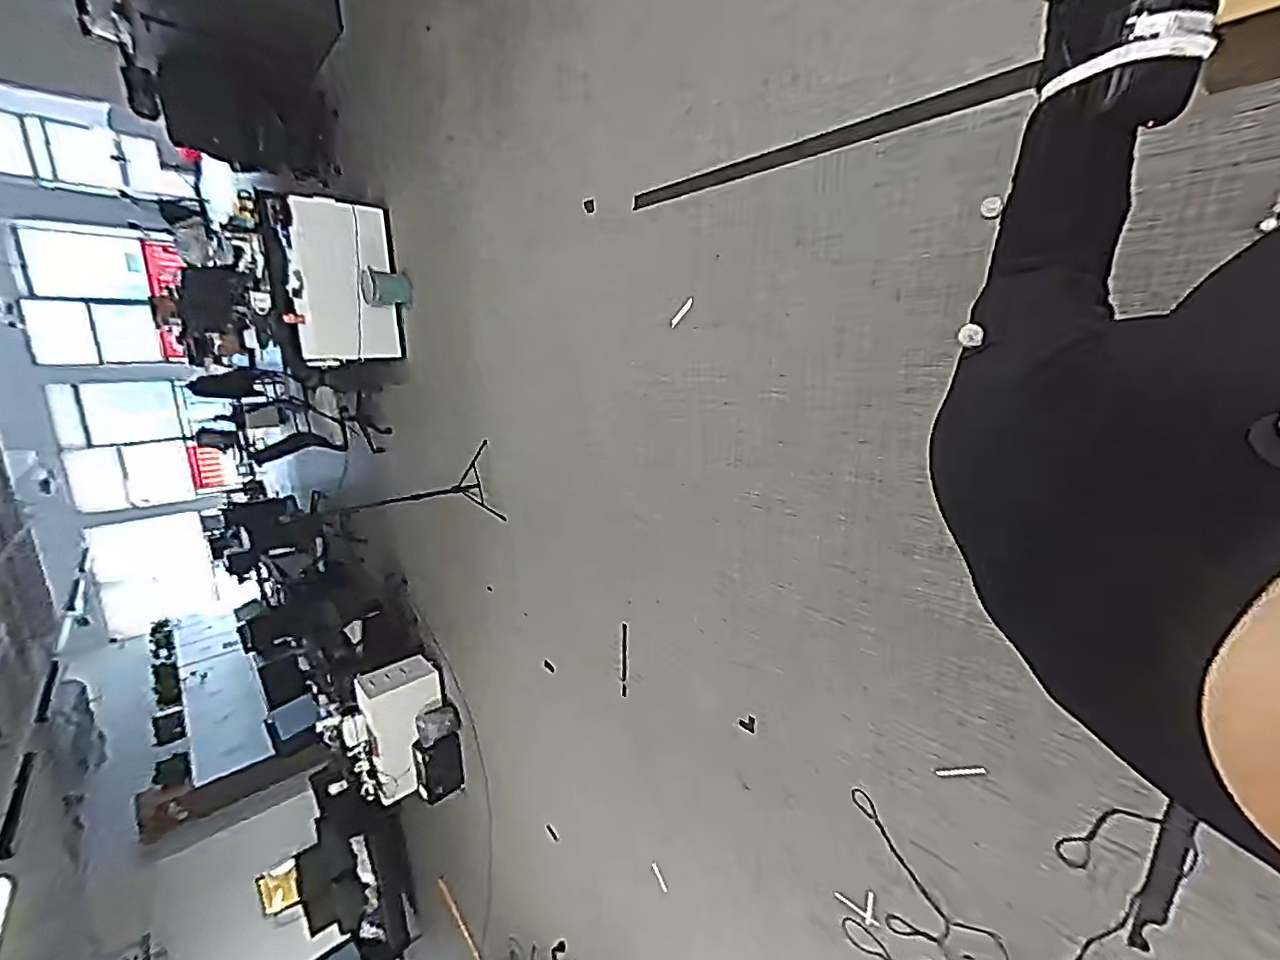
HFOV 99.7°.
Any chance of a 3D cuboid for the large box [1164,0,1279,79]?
[{"bbox_3d":[0.578,-0.470,0.269,0.408,0.320,0.320,14,120,47],"label":"large box"}]
